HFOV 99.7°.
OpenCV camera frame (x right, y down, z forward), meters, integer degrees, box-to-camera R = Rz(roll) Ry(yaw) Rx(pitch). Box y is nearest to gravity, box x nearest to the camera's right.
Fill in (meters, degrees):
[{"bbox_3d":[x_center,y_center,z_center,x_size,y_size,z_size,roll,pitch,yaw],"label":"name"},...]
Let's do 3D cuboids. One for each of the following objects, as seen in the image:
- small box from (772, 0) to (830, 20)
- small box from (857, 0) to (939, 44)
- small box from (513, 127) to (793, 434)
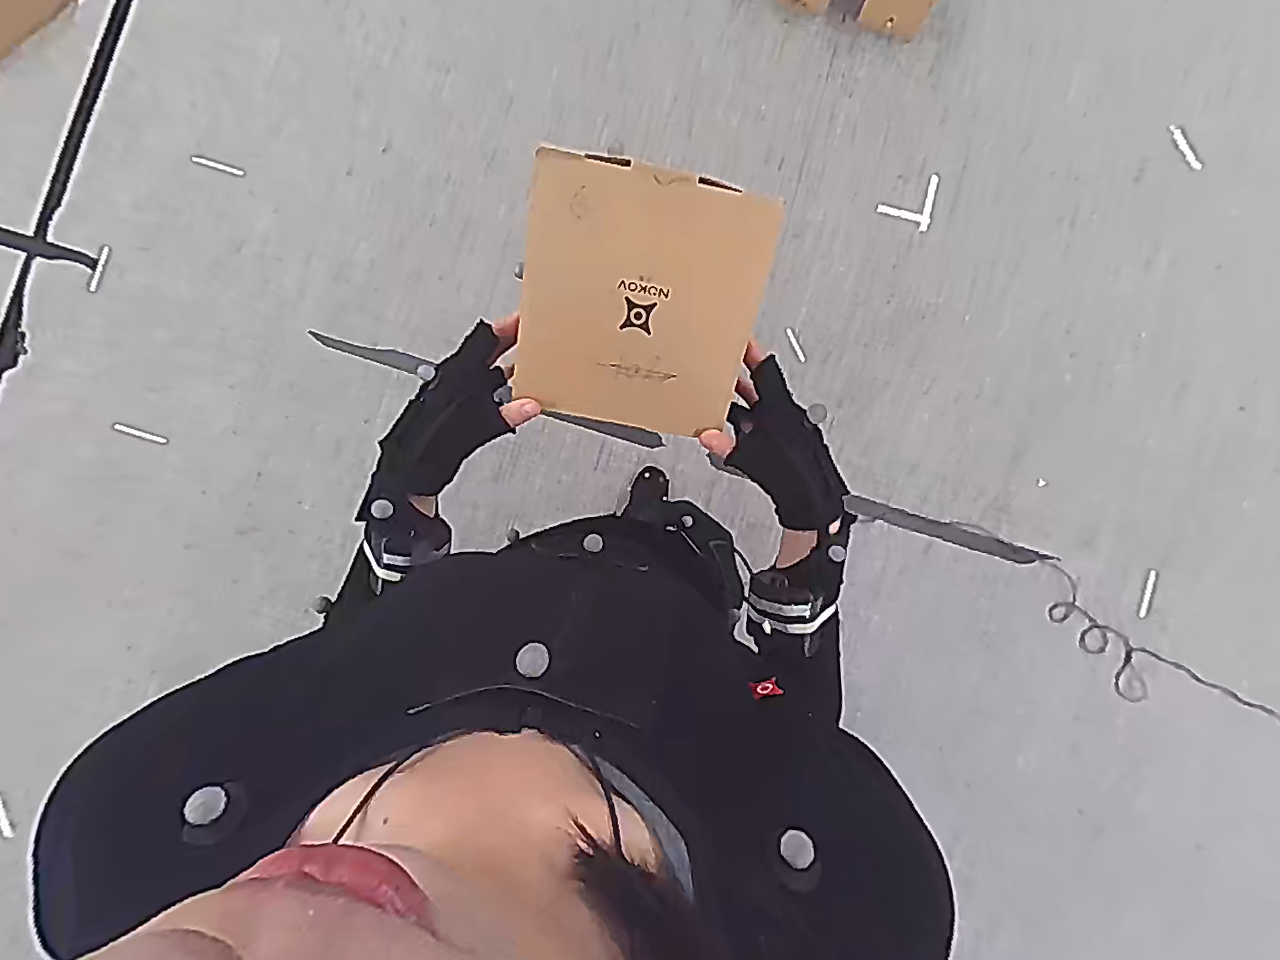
[{"bbox_3d":[0.490,-1.481,1.540,0.168,0.176,0.179,16,88,1],"label":"small box"},{"bbox_3d":[0.755,-1.402,1.541,0.179,0.176,0.168,19,87,-1],"label":"small box"},{"bbox_3d":[0.000,-0.161,0.443,0.168,0.176,0.179,10,117,-6],"label":"small box"}]
